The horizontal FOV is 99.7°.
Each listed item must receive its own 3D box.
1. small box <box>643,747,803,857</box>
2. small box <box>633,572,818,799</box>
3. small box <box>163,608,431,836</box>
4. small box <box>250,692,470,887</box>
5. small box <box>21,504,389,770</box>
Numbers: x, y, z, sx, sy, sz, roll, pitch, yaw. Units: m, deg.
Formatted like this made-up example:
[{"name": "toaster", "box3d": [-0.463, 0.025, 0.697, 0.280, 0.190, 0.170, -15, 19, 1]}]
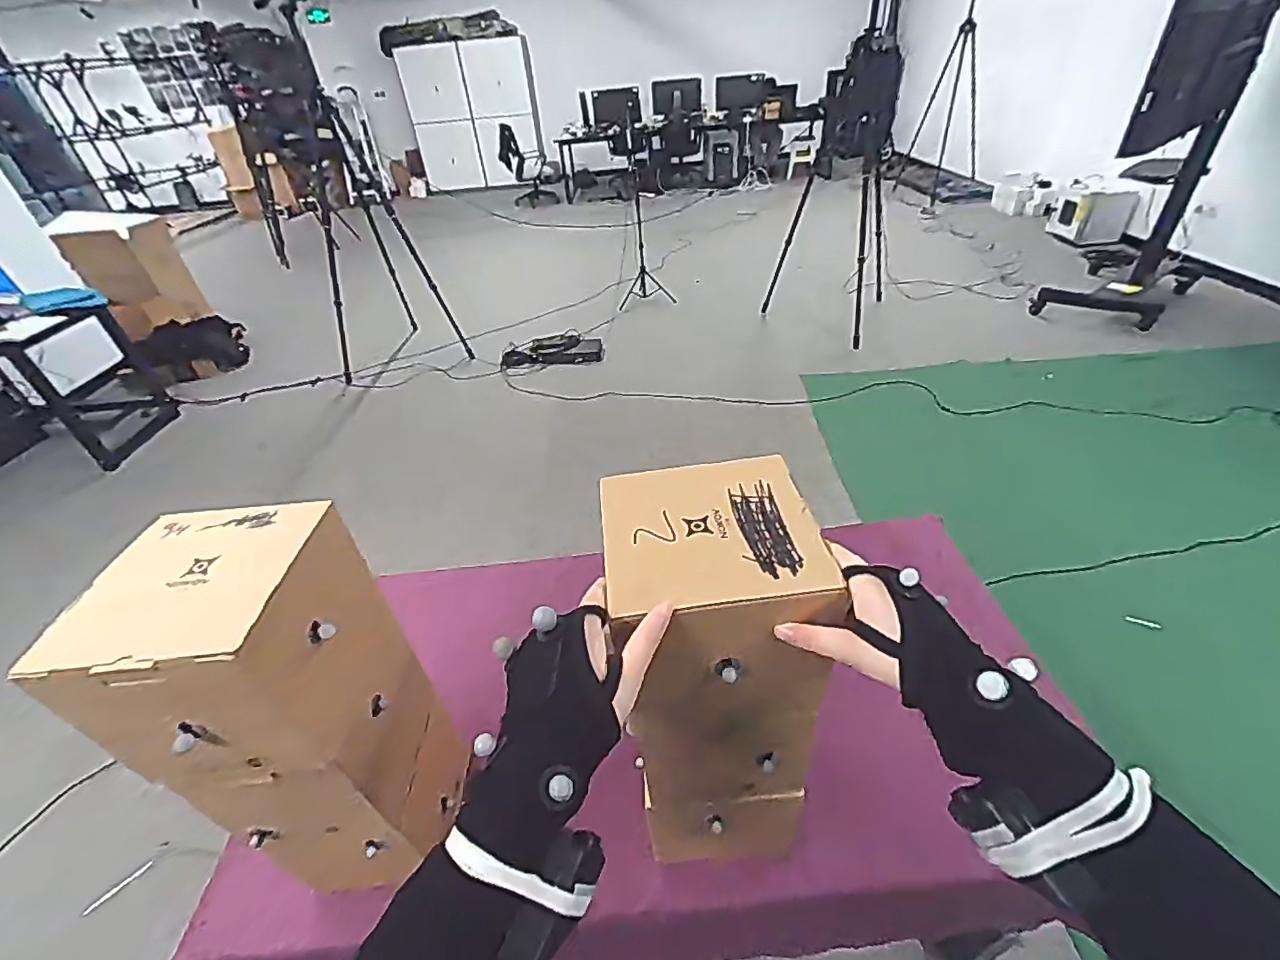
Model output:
[{"name": "small box", "box3d": [0.098, 0.362, 0.695, 0.179, 0.176, 0.168, -5, 39, 2]}, {"name": "small box", "box3d": [0.084, 0.230, 0.600, 0.168, 0.176, 0.179, -6, 37, 0]}, {"name": "small box", "box3d": [-0.352, 0.271, 0.604, 0.168, 0.176, 0.179, -5, 36, -1]}, {"name": "small box", "box3d": [-0.341, 0.402, 0.702, 0.179, 0.176, 0.168, -5, 38, -1]}, {"name": "small box", "box3d": [-0.358, 0.145, 0.497, 0.168, 0.176, 0.179, -4, 38, 0]}]
